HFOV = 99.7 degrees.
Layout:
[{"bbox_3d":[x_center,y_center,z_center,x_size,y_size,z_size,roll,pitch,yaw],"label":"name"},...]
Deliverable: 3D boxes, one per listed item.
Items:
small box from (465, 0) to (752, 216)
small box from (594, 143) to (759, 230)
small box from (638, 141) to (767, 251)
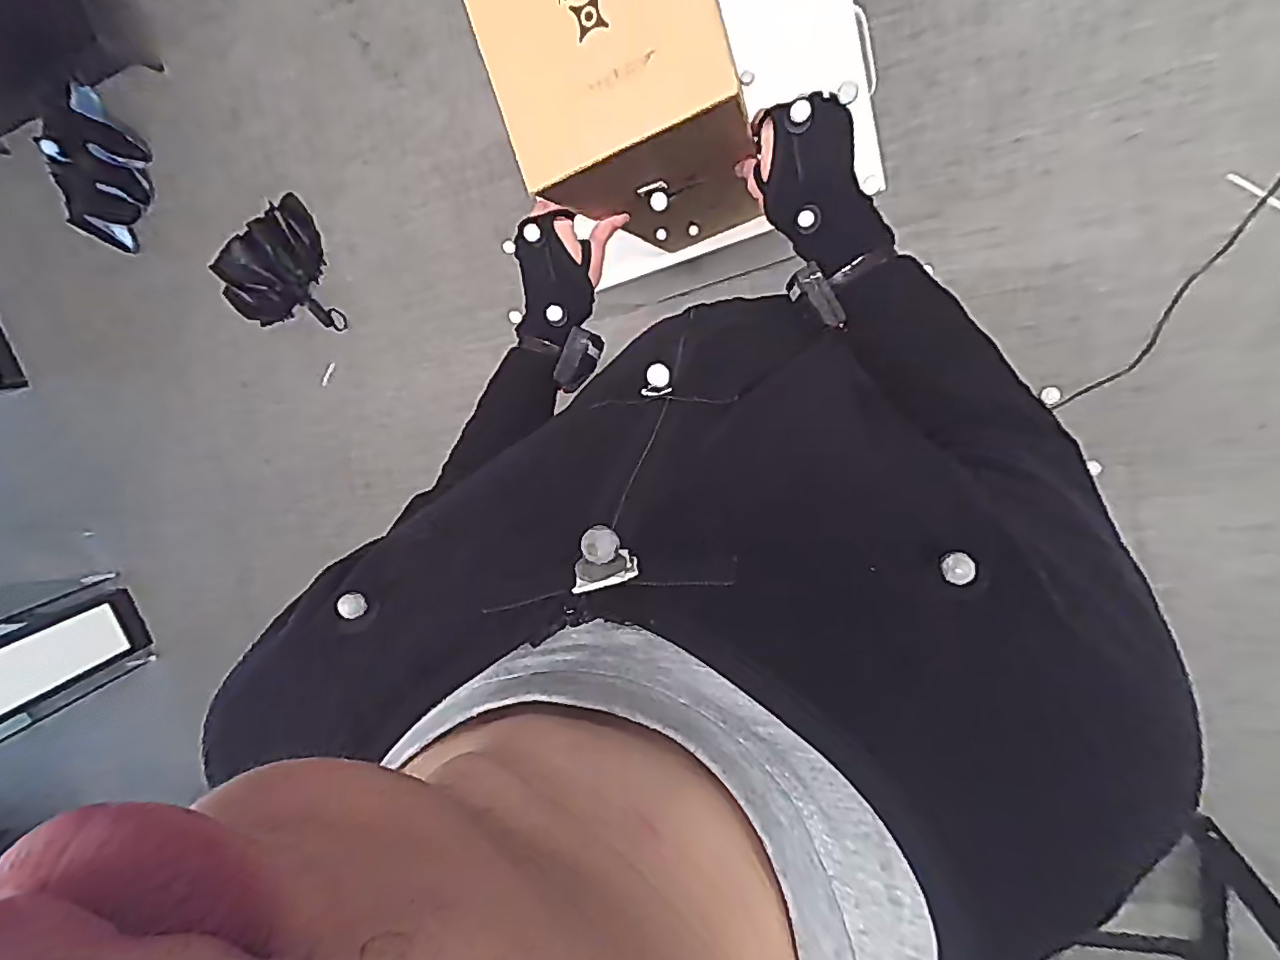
[{"bbox_3d":[-0.015,-0.340,0.434,0.168,0.176,0.179,-15,103,20],"label":"small box"},{"bbox_3d":[0.025,-0.389,0.584,0.168,0.176,0.179,-15,101,19],"label":"small box"},{"bbox_3d":[0.068,-0.436,0.736,0.168,0.176,0.179,-16,101,20],"label":"small box"}]
